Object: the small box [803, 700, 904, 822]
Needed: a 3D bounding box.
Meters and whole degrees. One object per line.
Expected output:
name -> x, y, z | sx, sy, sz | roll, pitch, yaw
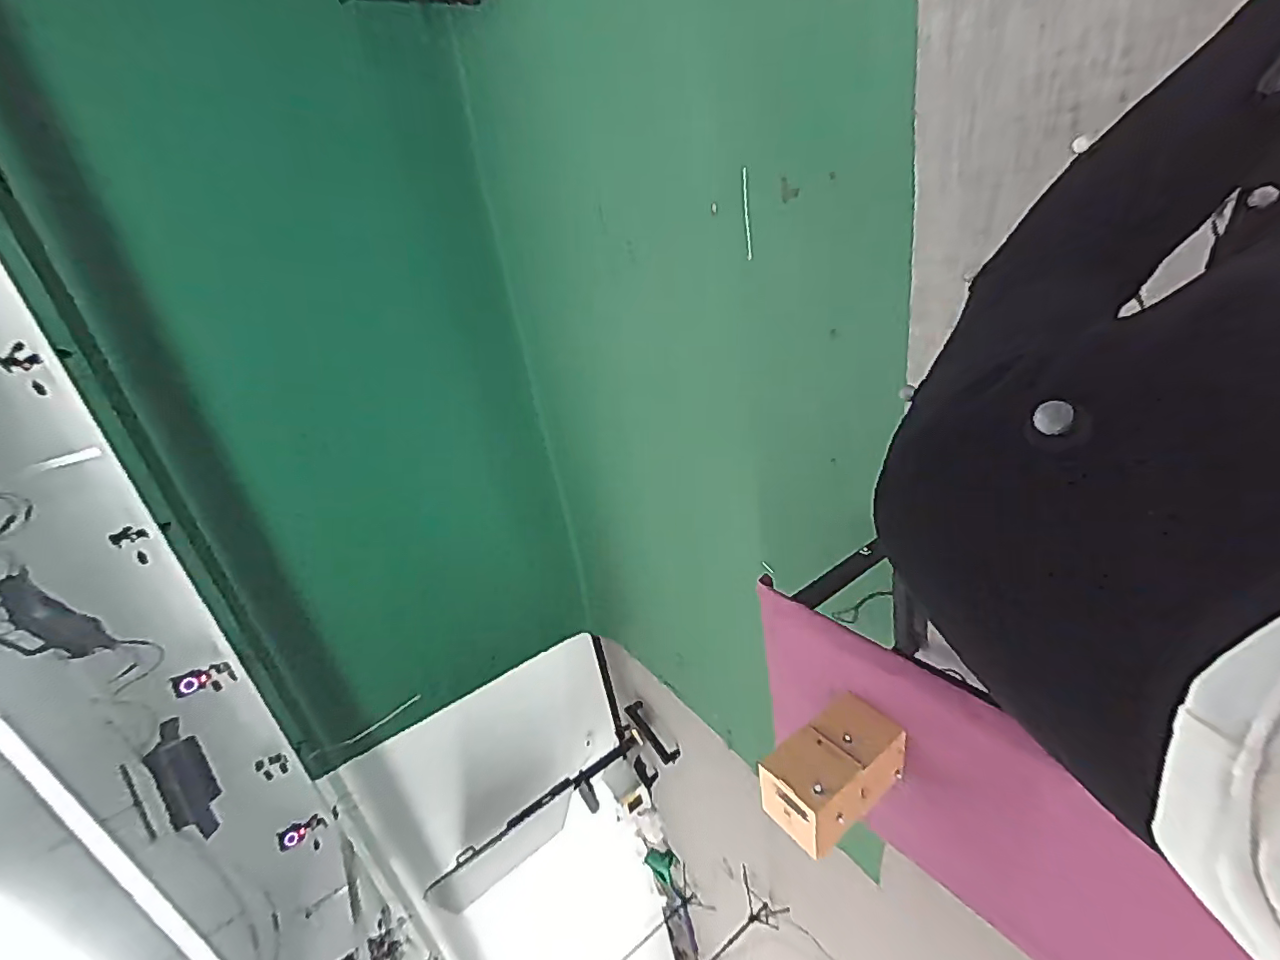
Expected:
small box -> 0.535, 0.693, 1.356 | 0.179, 0.176, 0.168 | 26, 131, 51
